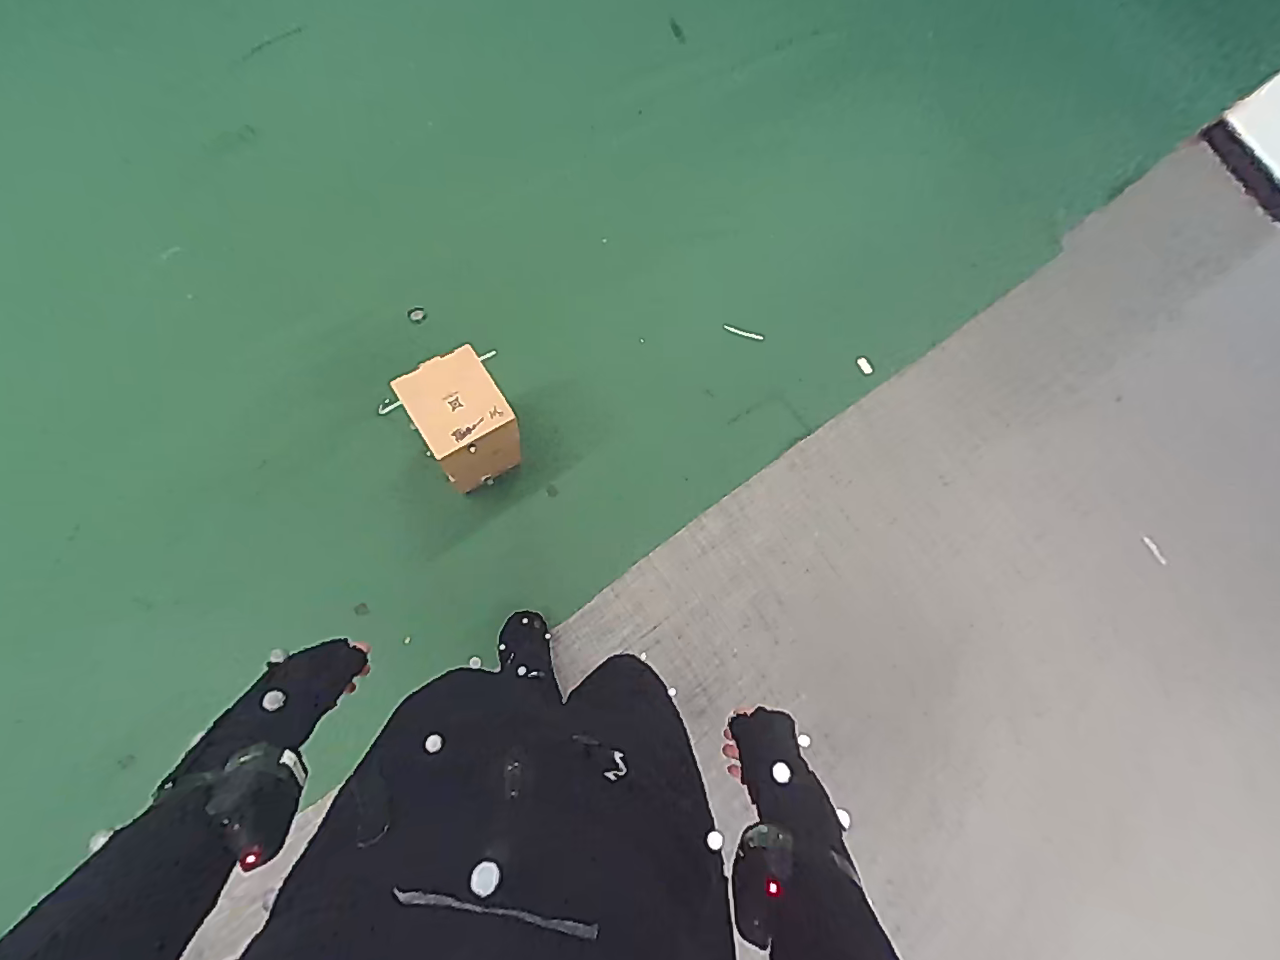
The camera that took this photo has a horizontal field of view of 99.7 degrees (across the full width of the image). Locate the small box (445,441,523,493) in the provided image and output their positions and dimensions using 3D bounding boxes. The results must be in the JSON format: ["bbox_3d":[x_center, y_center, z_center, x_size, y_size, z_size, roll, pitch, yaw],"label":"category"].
[{"bbox_3d":[-0.387,-0.092,1.251,0.168,0.176,0.179,-33,87,-14],"label":"small box"}]

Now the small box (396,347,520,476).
[{"bbox_3d":[-0.358,-0.131,1.094,0.168,0.176,0.179,-32,84,-15],"label":"small box"}]
